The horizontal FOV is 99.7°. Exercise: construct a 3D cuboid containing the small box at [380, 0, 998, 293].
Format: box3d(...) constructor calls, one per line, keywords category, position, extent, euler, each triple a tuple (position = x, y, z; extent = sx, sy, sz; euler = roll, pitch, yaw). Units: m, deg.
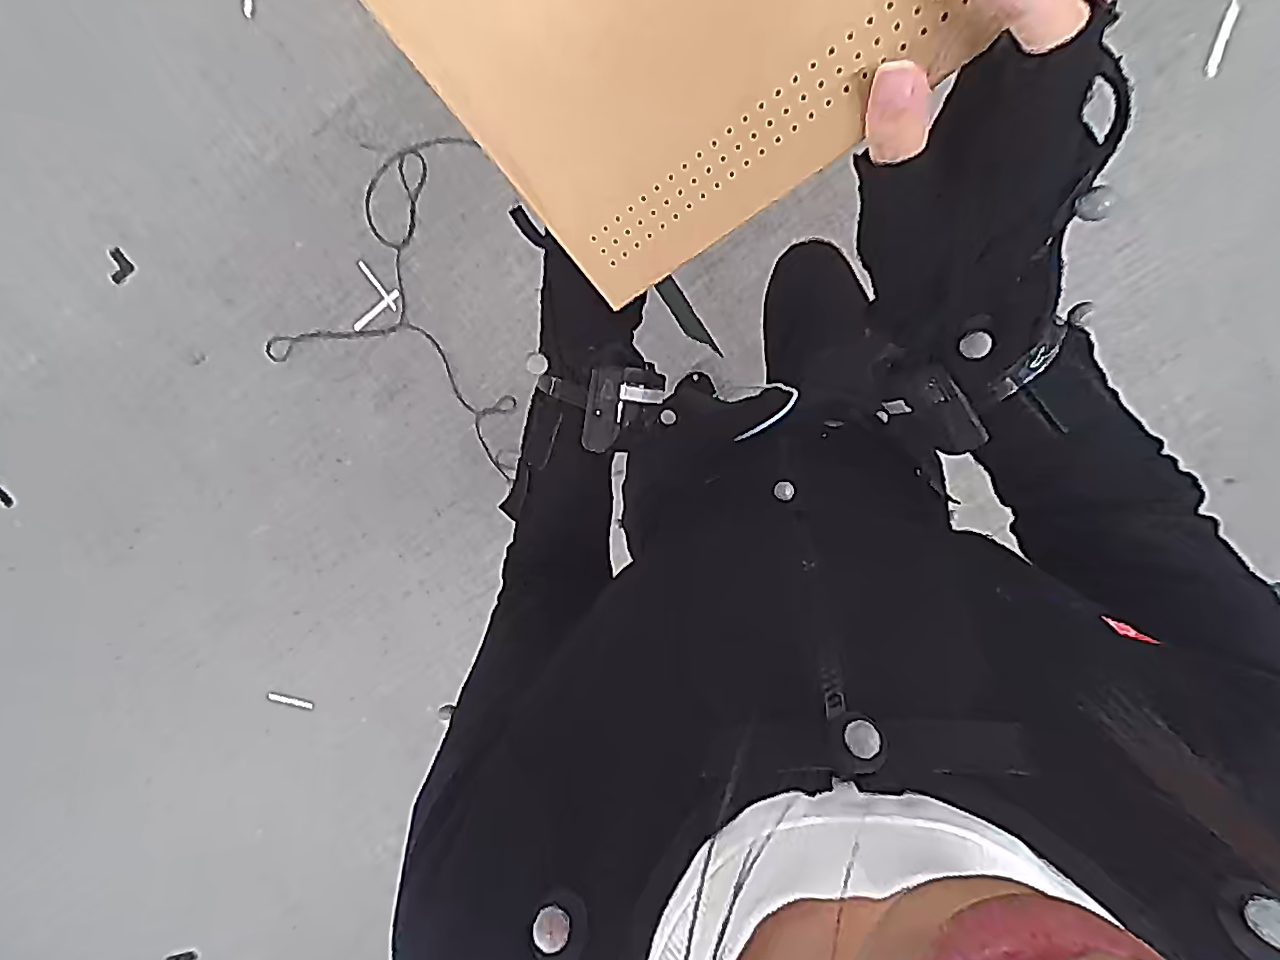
box3d(category="small box", position=(0.015, -0.219, 0.237), extent=(0.179, 0.168, 0.176), euler=(-27, 128, 26))
